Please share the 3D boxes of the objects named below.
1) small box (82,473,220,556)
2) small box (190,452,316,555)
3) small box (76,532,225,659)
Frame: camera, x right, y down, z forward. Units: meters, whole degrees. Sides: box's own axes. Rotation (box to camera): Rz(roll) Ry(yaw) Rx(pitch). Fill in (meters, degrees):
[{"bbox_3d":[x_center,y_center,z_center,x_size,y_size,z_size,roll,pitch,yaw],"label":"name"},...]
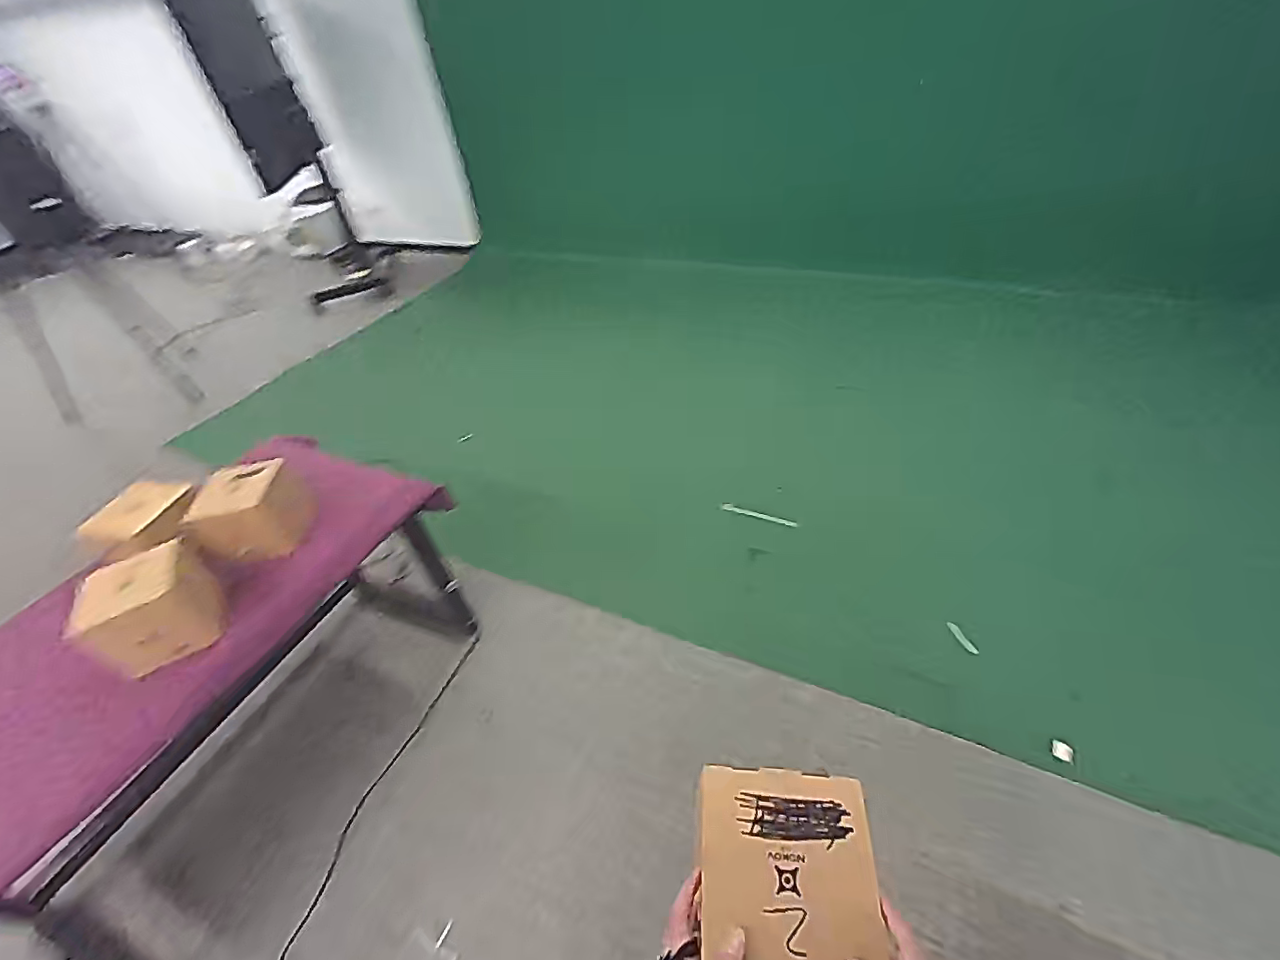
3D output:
[{"bbox_3d":[-1.166,0.104,1.323,0.179,0.176,0.168,3,44,12],"label":"small box"},{"bbox_3d":[-0.937,0.059,1.333,0.168,0.176,0.179,-10,43,-2],"label":"small box"},{"bbox_3d":[-1.008,0.248,1.133,0.168,0.176,0.179,-26,45,-19],"label":"small box"}]
